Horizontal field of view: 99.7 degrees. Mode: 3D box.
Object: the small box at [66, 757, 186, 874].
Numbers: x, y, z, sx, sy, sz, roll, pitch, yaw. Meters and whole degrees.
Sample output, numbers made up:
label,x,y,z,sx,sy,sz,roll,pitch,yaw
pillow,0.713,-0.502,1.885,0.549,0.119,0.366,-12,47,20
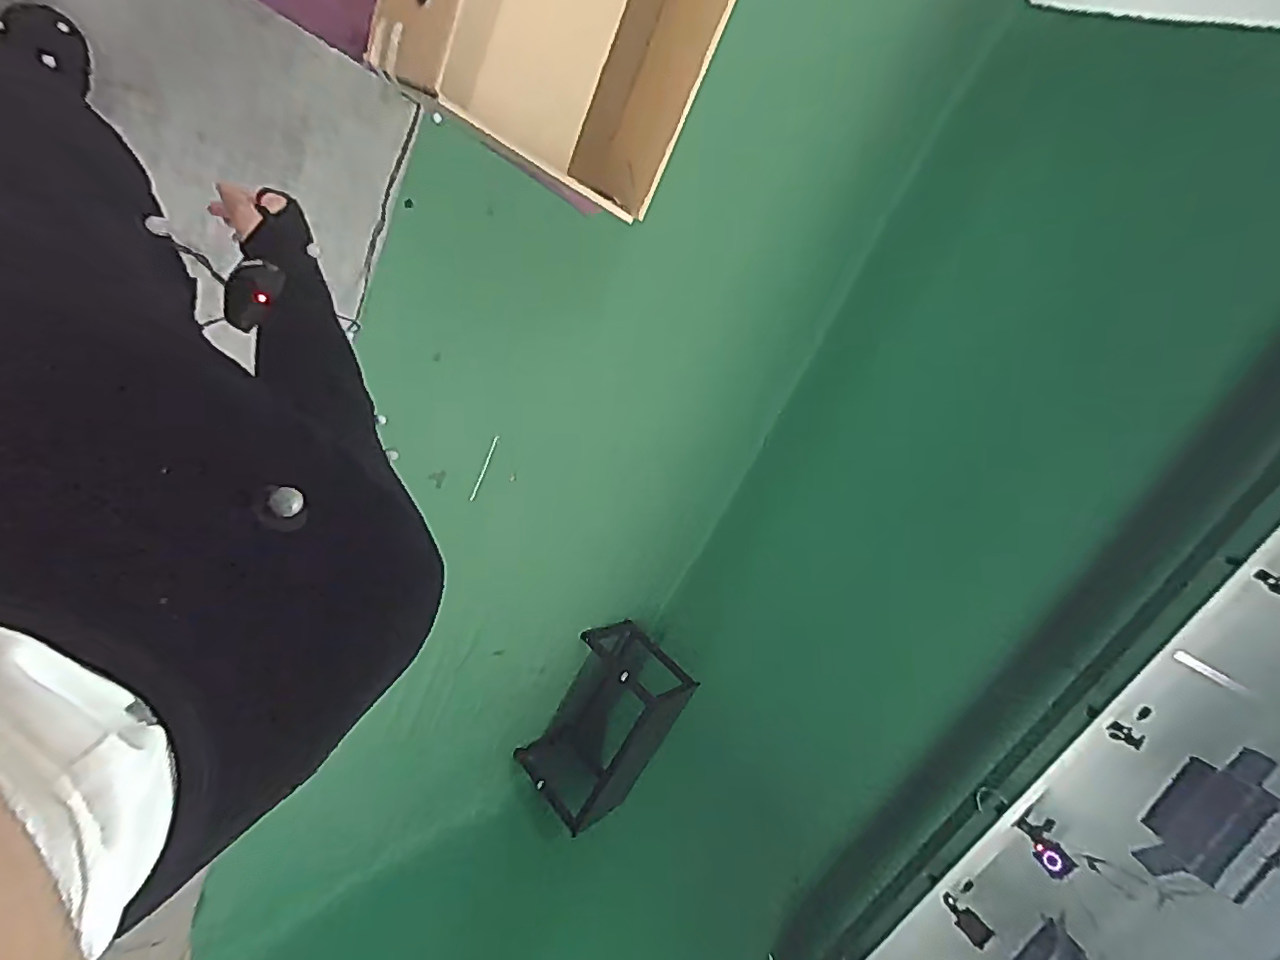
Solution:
label,x,y,z,sx,sy,sz,roll,pitch,yaw
small box,-1.374,0.891,1.443,0.179,0.176,0.168,-33,144,-31
